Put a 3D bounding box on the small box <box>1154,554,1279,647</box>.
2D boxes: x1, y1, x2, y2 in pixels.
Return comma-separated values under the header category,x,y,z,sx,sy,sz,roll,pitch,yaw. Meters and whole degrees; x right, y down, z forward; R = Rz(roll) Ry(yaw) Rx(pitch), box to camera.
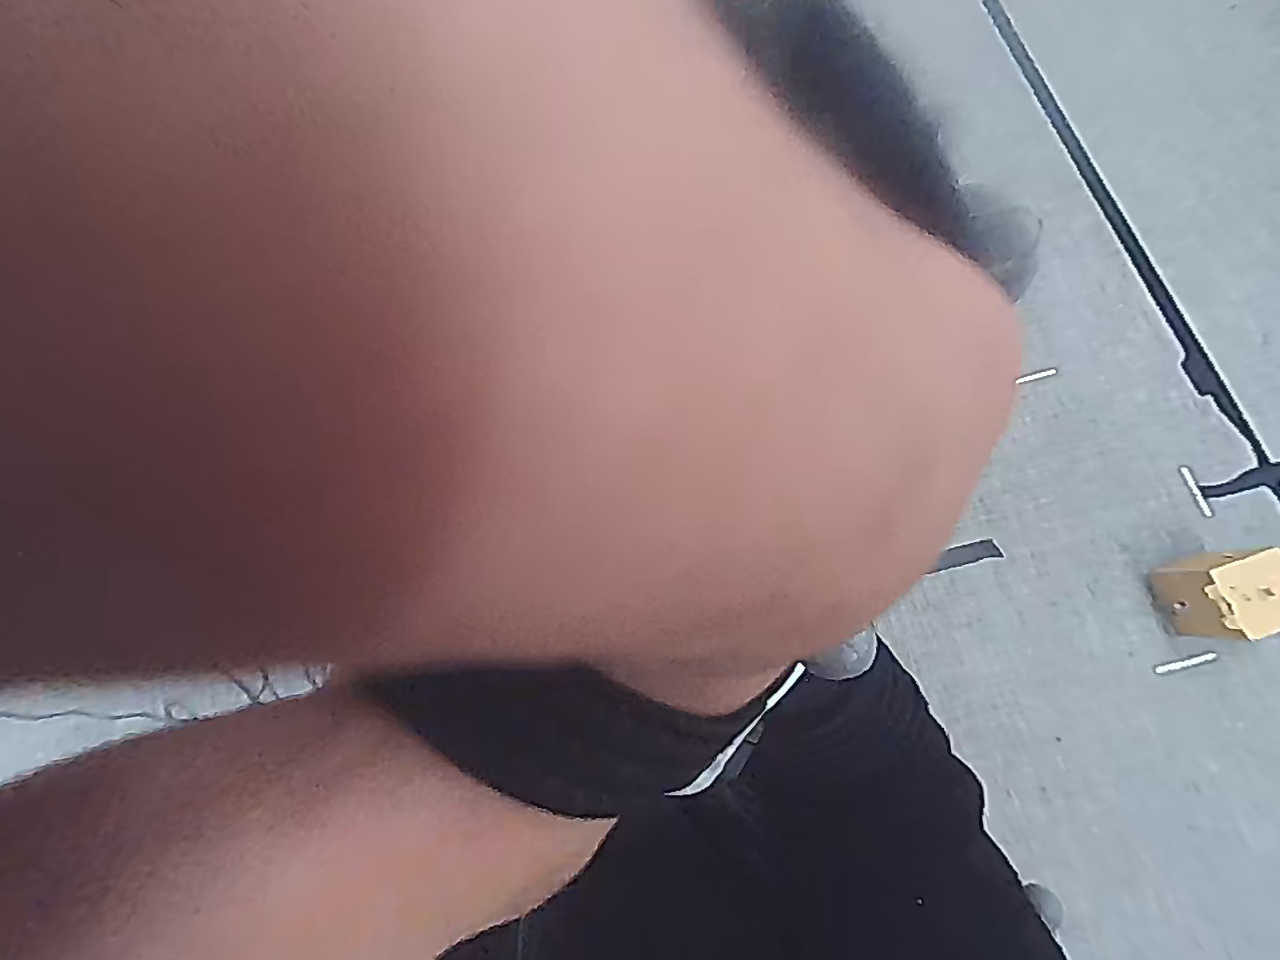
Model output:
category,x,y,z,sx,sy,sz,roll,pitch,yaw
small box,1.396,0.280,1.274,0.179,0.176,0.168,-19,77,1
